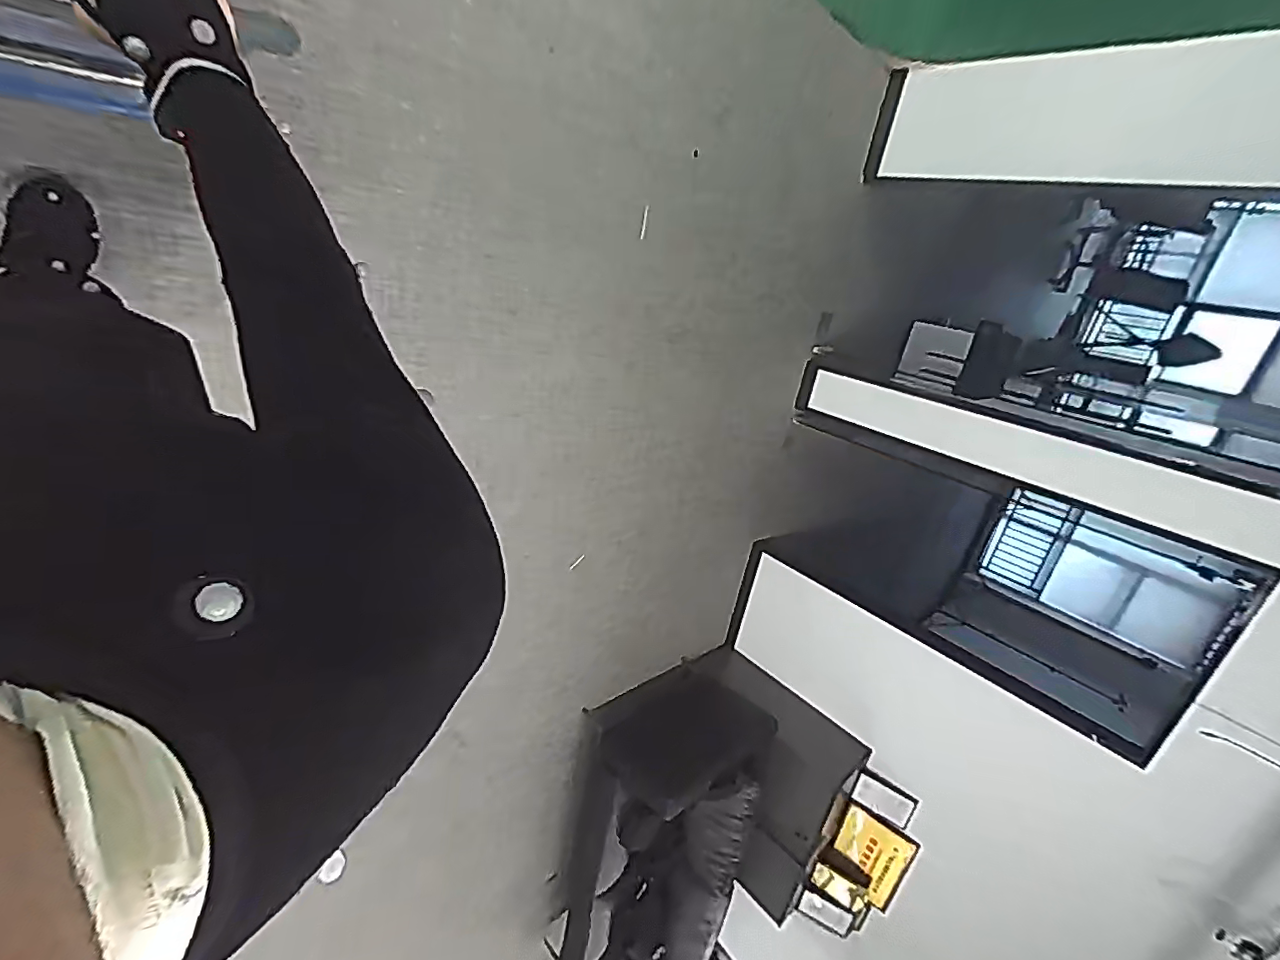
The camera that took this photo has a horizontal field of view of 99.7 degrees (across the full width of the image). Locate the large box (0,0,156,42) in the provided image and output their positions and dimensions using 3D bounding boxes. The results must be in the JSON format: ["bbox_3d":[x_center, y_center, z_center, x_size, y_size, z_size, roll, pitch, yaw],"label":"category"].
[{"bbox_3d":[-0.823,-0.817,0.627,0.320,0.320,0.408,-15,122,-40],"label":"large box"}]
